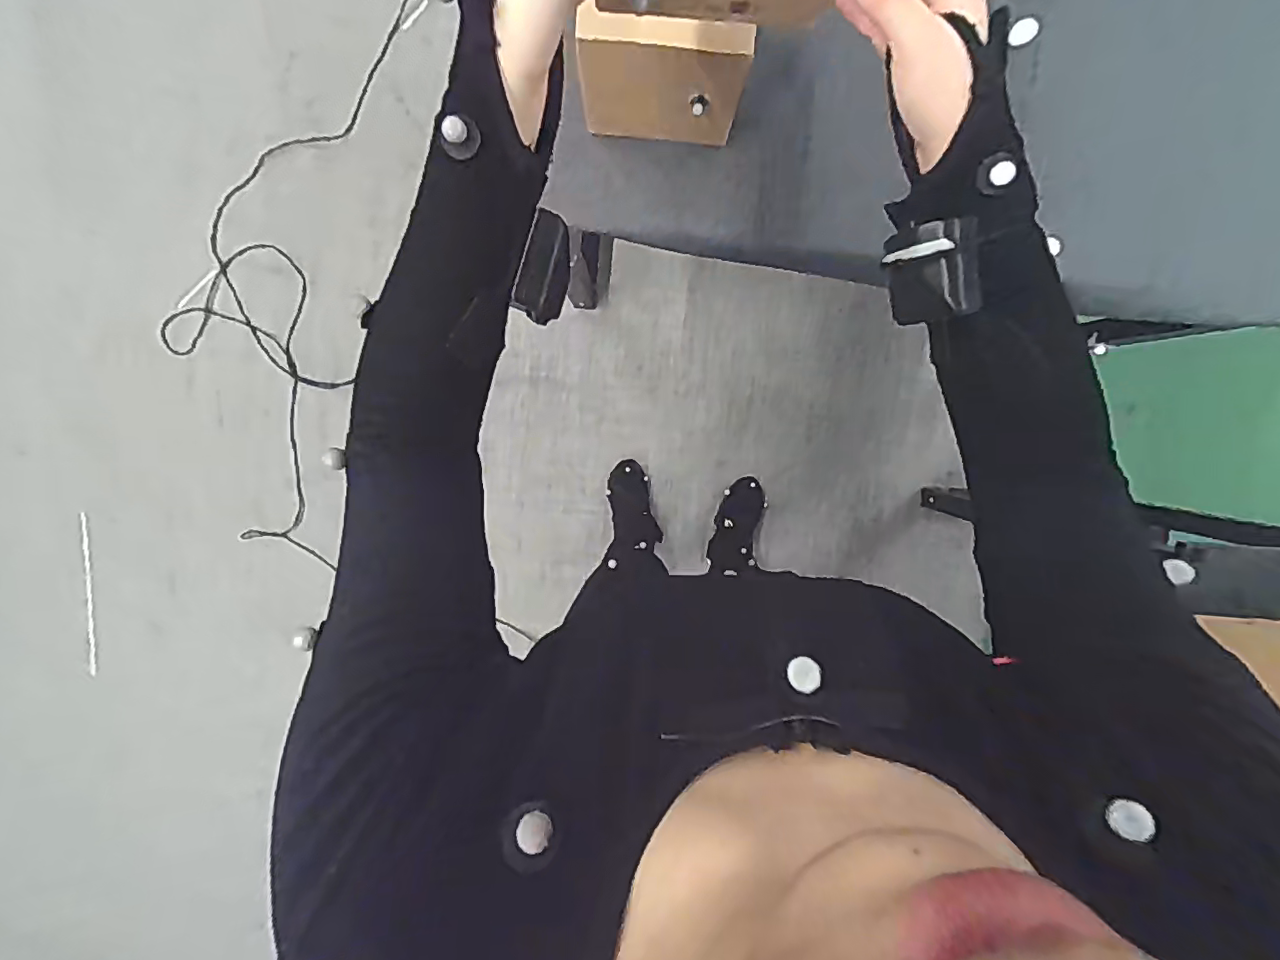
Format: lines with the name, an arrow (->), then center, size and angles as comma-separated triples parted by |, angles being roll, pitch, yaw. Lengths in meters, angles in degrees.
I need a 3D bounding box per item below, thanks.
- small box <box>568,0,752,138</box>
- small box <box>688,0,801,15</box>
small box -> 0.024, -0.503, 0.589 | 0.179, 0.176, 0.168 | 4, 95, 0
small box -> 0.045, -0.413, 0.306 | 0.168, 0.176, 0.179 | 2, 102, -2
